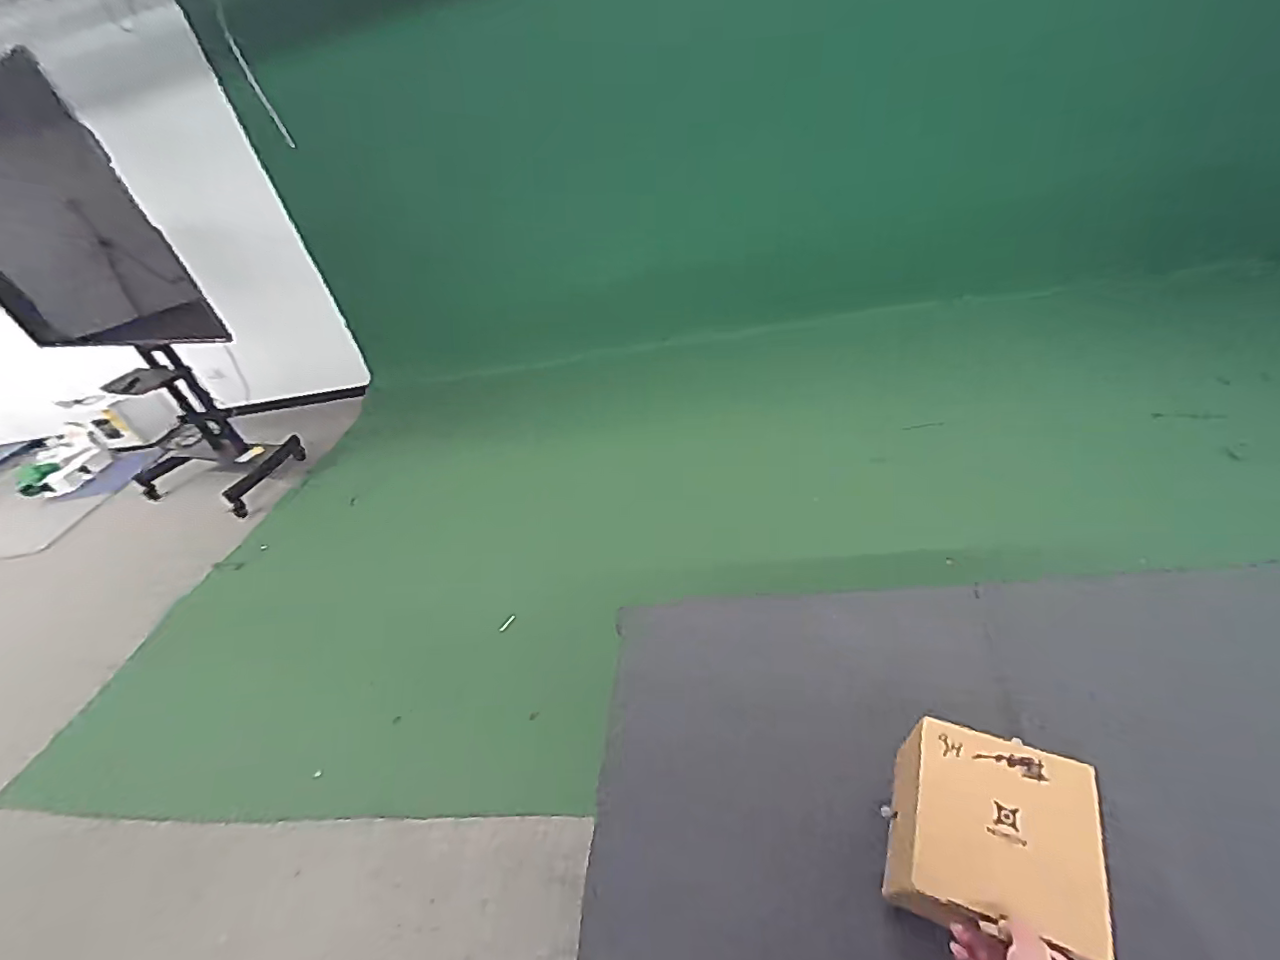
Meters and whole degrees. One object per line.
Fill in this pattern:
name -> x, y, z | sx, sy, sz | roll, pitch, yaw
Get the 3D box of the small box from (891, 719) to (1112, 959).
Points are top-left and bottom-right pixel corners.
small box -> 0.388, 0.406, 0.614 | 0.168, 0.176, 0.179 | 8, 51, 21
